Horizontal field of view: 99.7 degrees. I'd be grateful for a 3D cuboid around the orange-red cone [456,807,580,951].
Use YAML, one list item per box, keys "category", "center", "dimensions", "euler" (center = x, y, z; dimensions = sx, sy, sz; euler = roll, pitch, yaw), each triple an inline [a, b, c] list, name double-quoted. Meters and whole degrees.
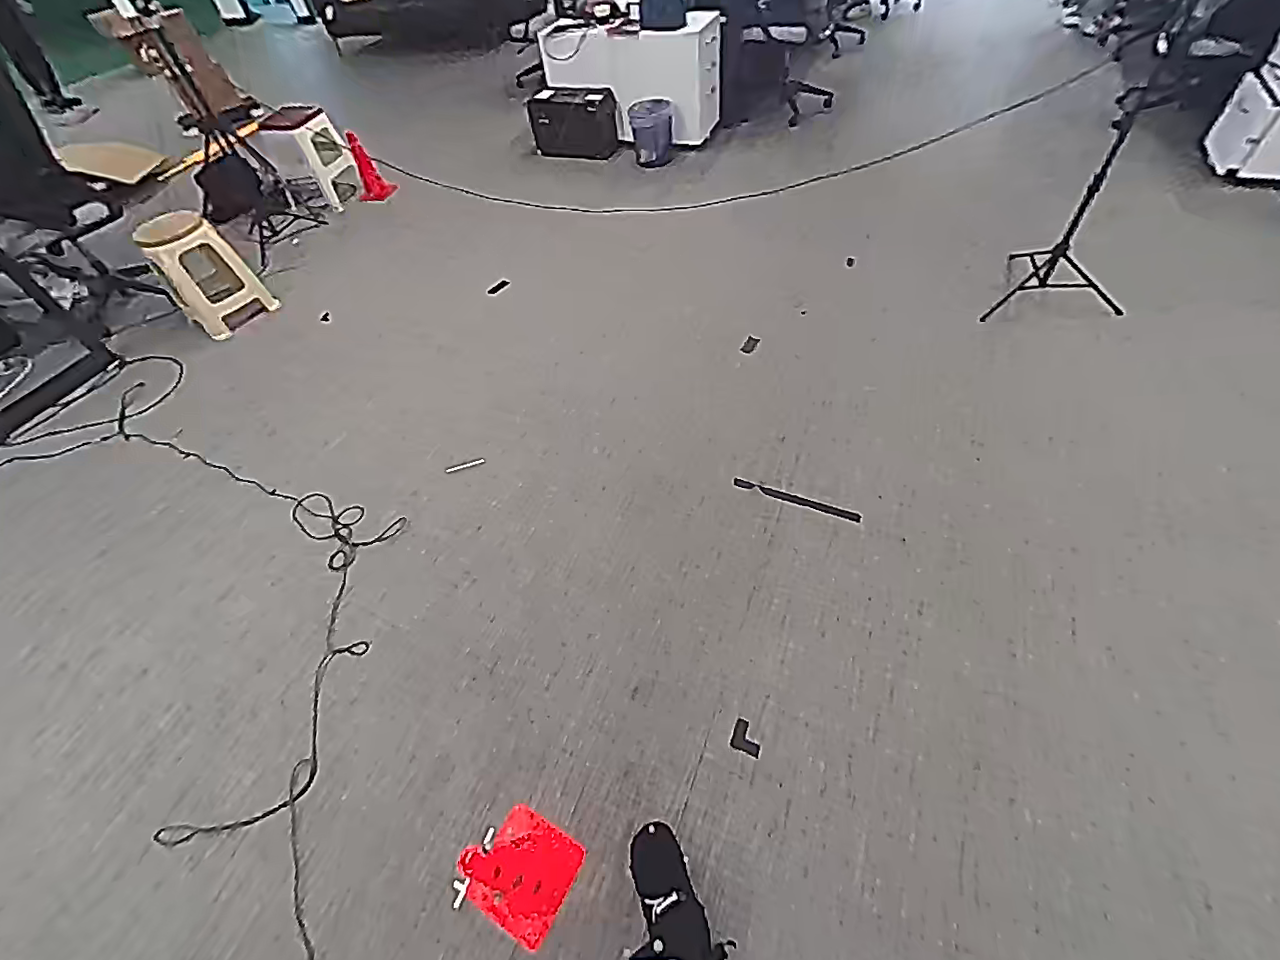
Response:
- category: "orange-red cone"
  center: [-0.266, 0.739, 1.023]
  dimensions: [0.199, 0.360, 0.198]
  euler: [23, 58, 22]
